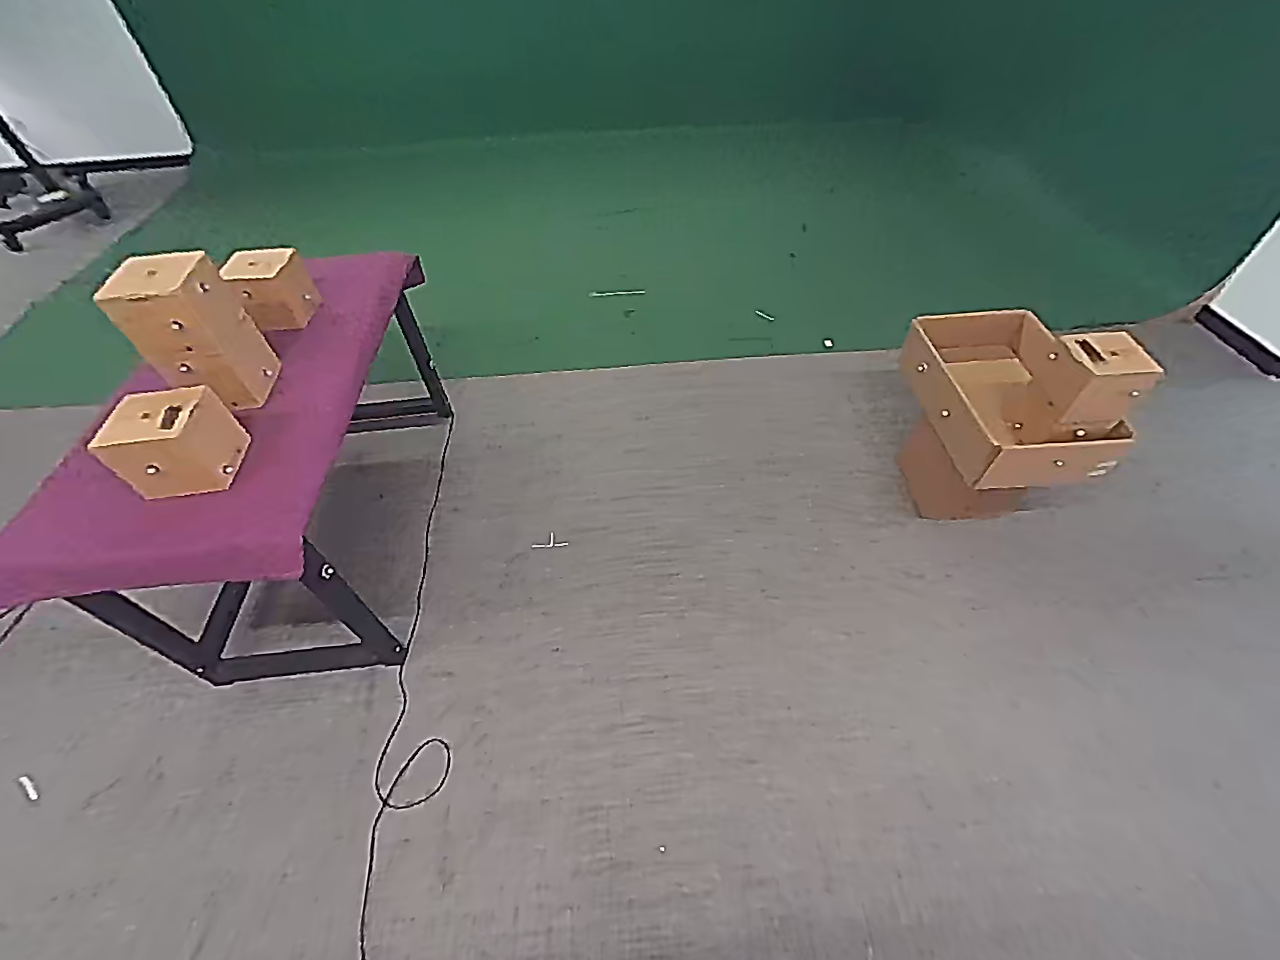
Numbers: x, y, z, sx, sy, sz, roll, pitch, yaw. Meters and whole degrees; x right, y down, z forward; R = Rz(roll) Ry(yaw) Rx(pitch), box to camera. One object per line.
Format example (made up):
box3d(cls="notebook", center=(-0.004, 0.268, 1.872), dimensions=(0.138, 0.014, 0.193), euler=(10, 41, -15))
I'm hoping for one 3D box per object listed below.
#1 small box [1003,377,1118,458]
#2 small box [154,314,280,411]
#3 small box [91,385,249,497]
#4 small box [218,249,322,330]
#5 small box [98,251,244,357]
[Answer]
box3d(cls="small box", center=(1.209, -0.178, 1.571), dimensions=(0.179, 0.176, 0.168), euler=(-3, 51, 1))
box3d(cls="small box", center=(-1.055, -0.295, 1.370), dimensions=(0.168, 0.176, 0.179), euler=(-8, 50, -4))
box3d(cls="small box", center=(-1.012, -0.083, 1.188), dimensions=(0.179, 0.176, 0.168), euler=(-8, 49, -3))
box3d(cls="small box", center=(-1.086, -0.558, 1.593), dimensions=(0.179, 0.176, 0.168), euler=(-3, 50, 0))
box3d(cls="small box", center=(-1.060, -0.398, 1.243), dimensions=(0.168, 0.176, 0.179), euler=(-7, 50, -5))
